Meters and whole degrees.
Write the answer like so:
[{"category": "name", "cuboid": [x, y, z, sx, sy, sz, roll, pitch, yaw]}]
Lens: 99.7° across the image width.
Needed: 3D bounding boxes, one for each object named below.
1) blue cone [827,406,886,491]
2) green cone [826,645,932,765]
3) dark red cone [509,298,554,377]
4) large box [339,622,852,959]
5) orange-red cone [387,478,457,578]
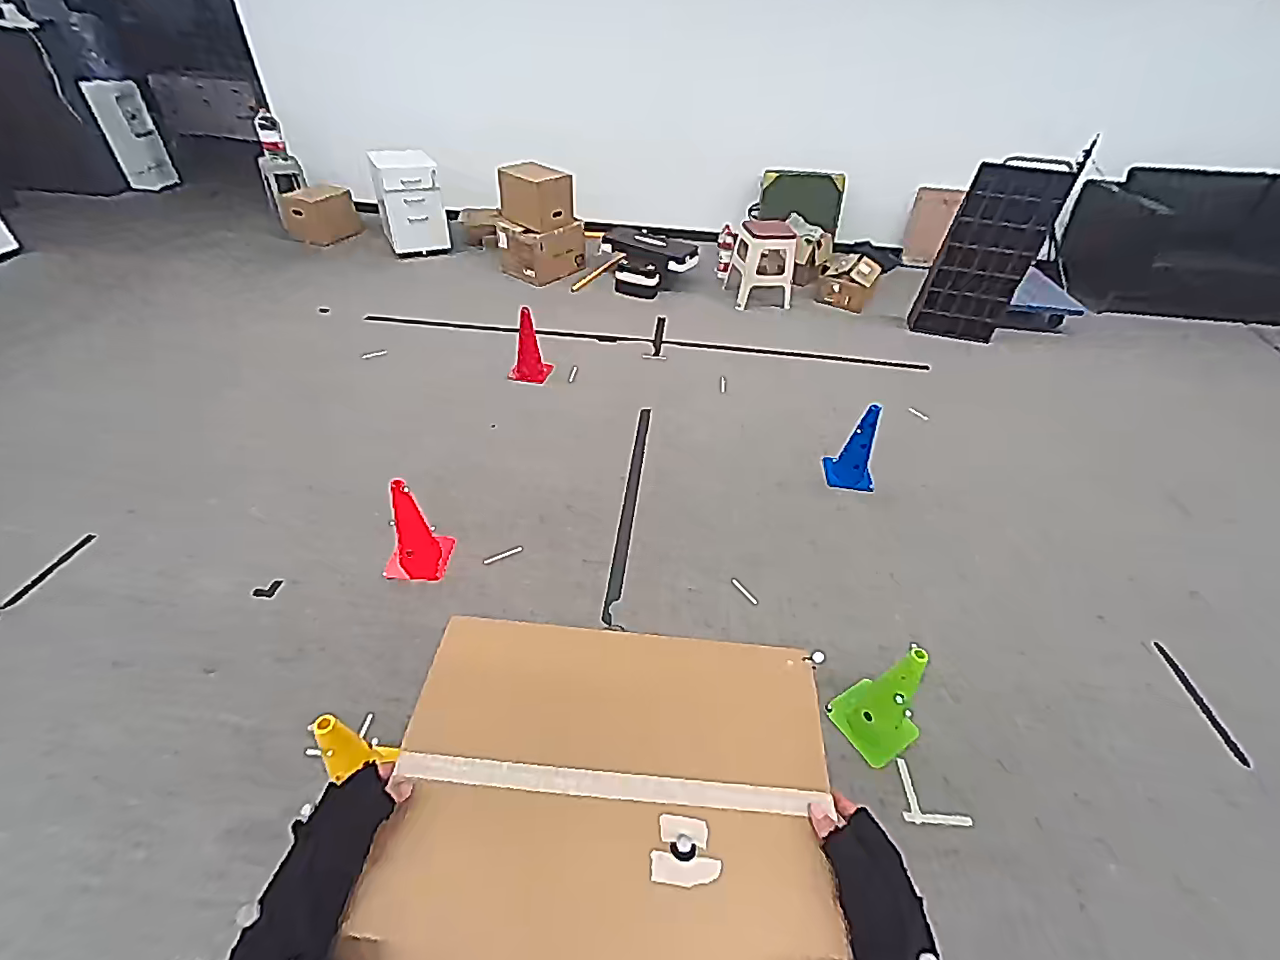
[{"category": "blue cone", "cuboid": [0.941, -0.147, 2.280, 0.192, 0.380, 0.193, 9, 42, 4]}, {"category": "green cone", "cuboid": [0.678, 0.559, 1.435, 0.202, 0.368, 0.200, -19, 47, -26]}, {"category": "dark red cone", "cuboid": [-0.557, -0.725, 2.743, 0.201, 0.394, 0.202, 11, 42, 6]}, {"category": "large box", "cuboid": [-0.031, 0.391, 0.608, 0.408, 0.320, 0.320, 6, 45, 2]}, {"category": "orange-red cone", "cuboid": [-0.757, 0.137, 1.790, 0.198, 0.360, 0.199, 4, 43, 1]}]
